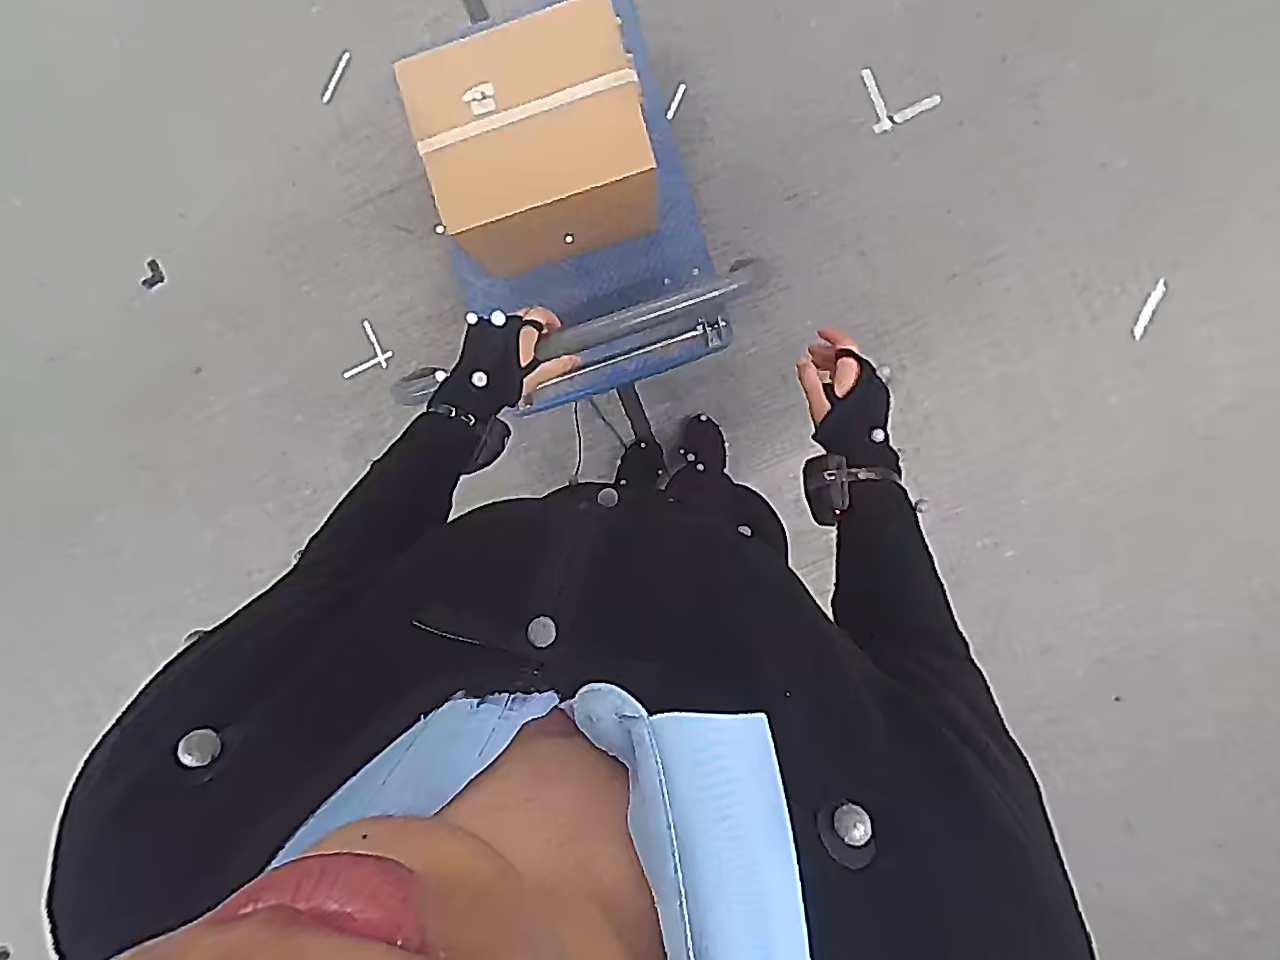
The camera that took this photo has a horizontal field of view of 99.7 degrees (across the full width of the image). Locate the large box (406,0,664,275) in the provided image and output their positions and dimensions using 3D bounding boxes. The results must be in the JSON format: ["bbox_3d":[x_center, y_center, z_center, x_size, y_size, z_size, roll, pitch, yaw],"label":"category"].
[{"bbox_3d":[-0.185,-0.670,1.121,0.408,0.320,0.320,-16,94,5],"label":"large box"}]
